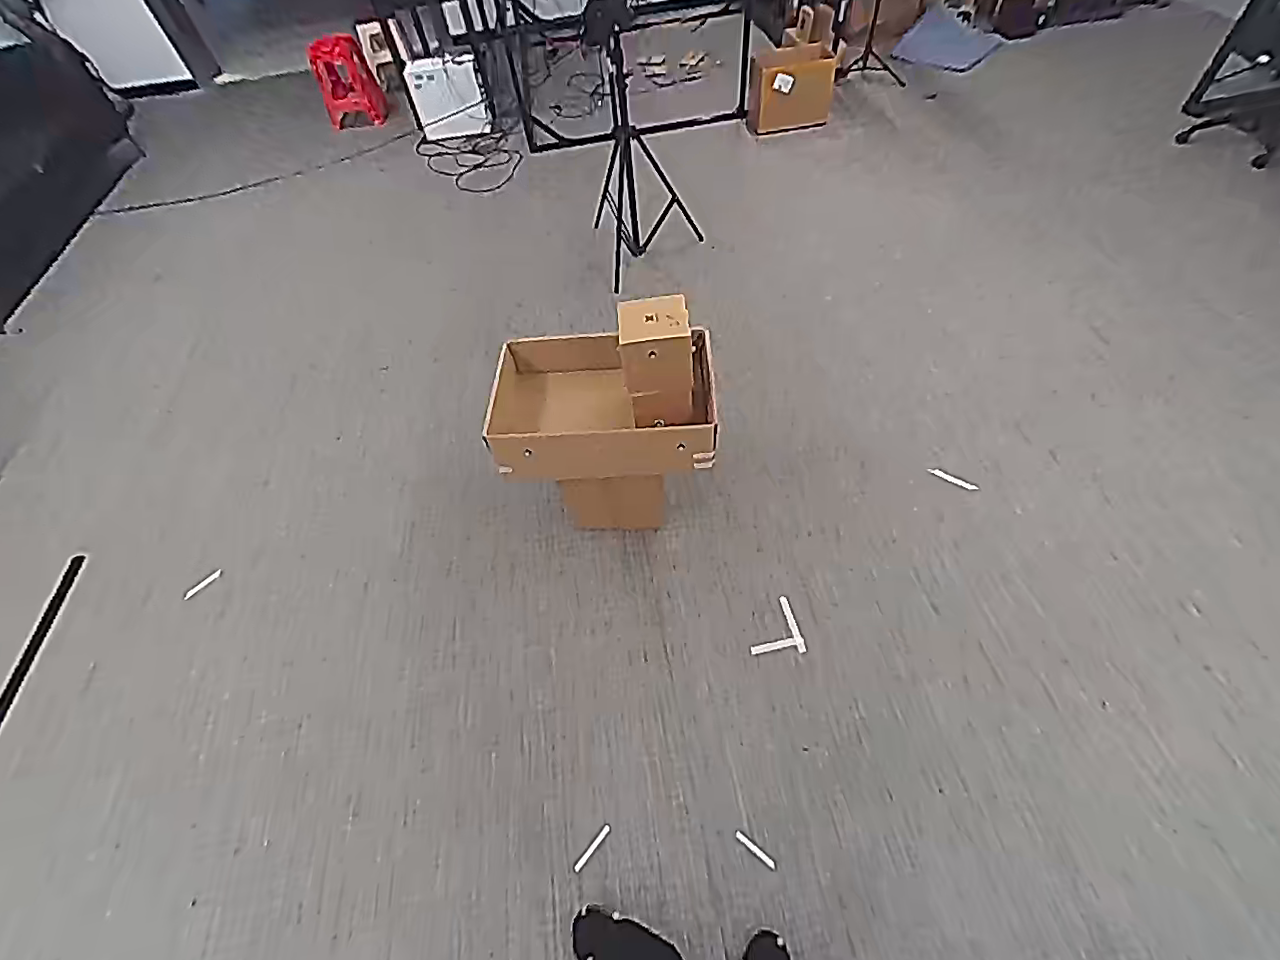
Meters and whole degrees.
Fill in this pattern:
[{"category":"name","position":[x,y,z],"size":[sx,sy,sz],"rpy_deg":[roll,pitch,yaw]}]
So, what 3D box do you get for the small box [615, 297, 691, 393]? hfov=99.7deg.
[{"category":"small box","position":[0.035,-0.341,1.386],"size":[0.179,0.176,0.168],"rpy_deg":[-6,54,3]}]
